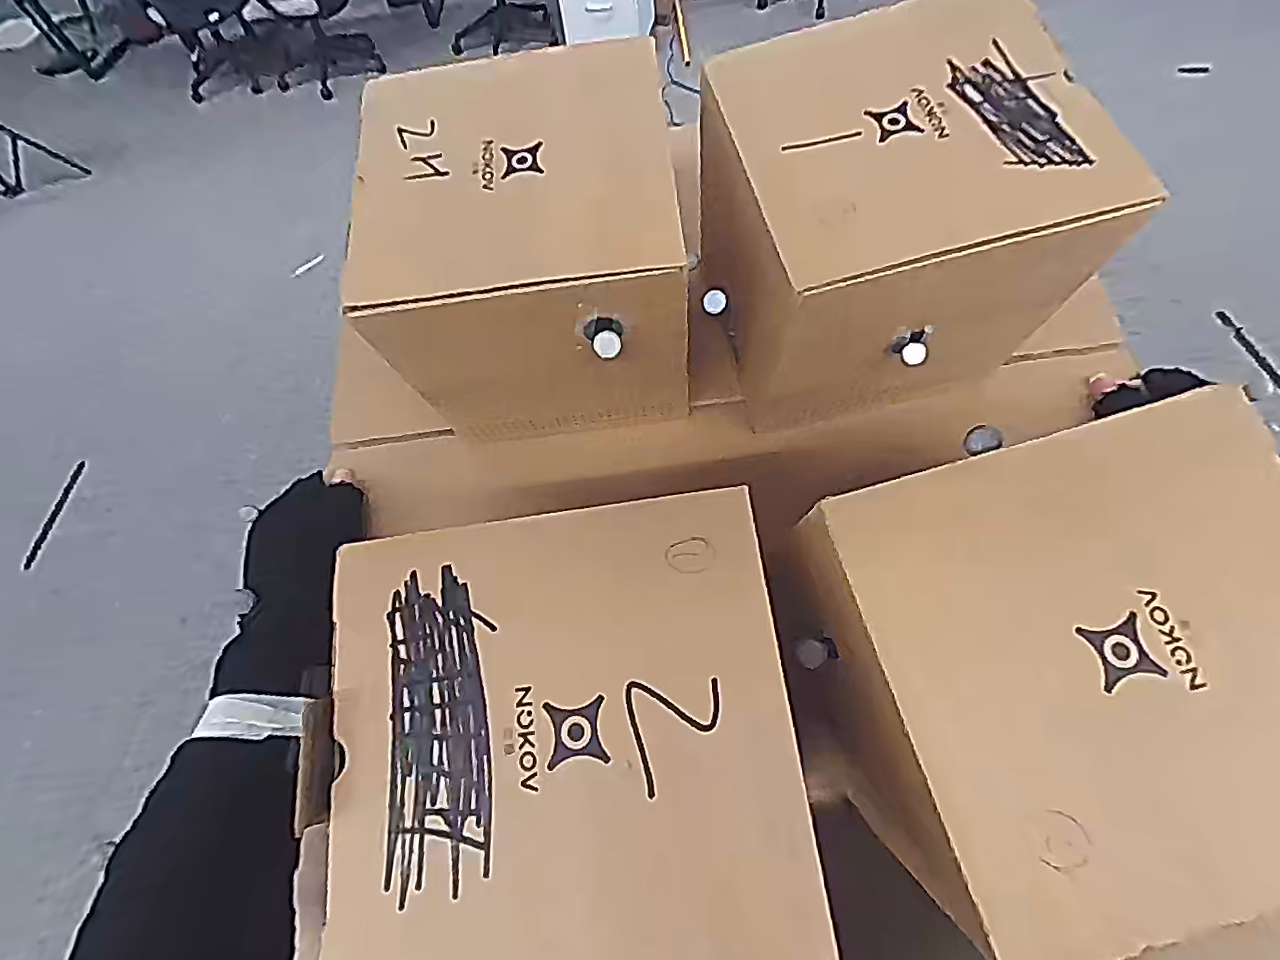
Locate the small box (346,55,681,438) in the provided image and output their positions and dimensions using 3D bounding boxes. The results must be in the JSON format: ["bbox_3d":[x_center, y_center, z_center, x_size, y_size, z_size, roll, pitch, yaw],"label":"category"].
[{"bbox_3d":[-0.064,-0.141,0.375,0.179,0.176,0.168,-6,70,4],"label":"small box"}]
